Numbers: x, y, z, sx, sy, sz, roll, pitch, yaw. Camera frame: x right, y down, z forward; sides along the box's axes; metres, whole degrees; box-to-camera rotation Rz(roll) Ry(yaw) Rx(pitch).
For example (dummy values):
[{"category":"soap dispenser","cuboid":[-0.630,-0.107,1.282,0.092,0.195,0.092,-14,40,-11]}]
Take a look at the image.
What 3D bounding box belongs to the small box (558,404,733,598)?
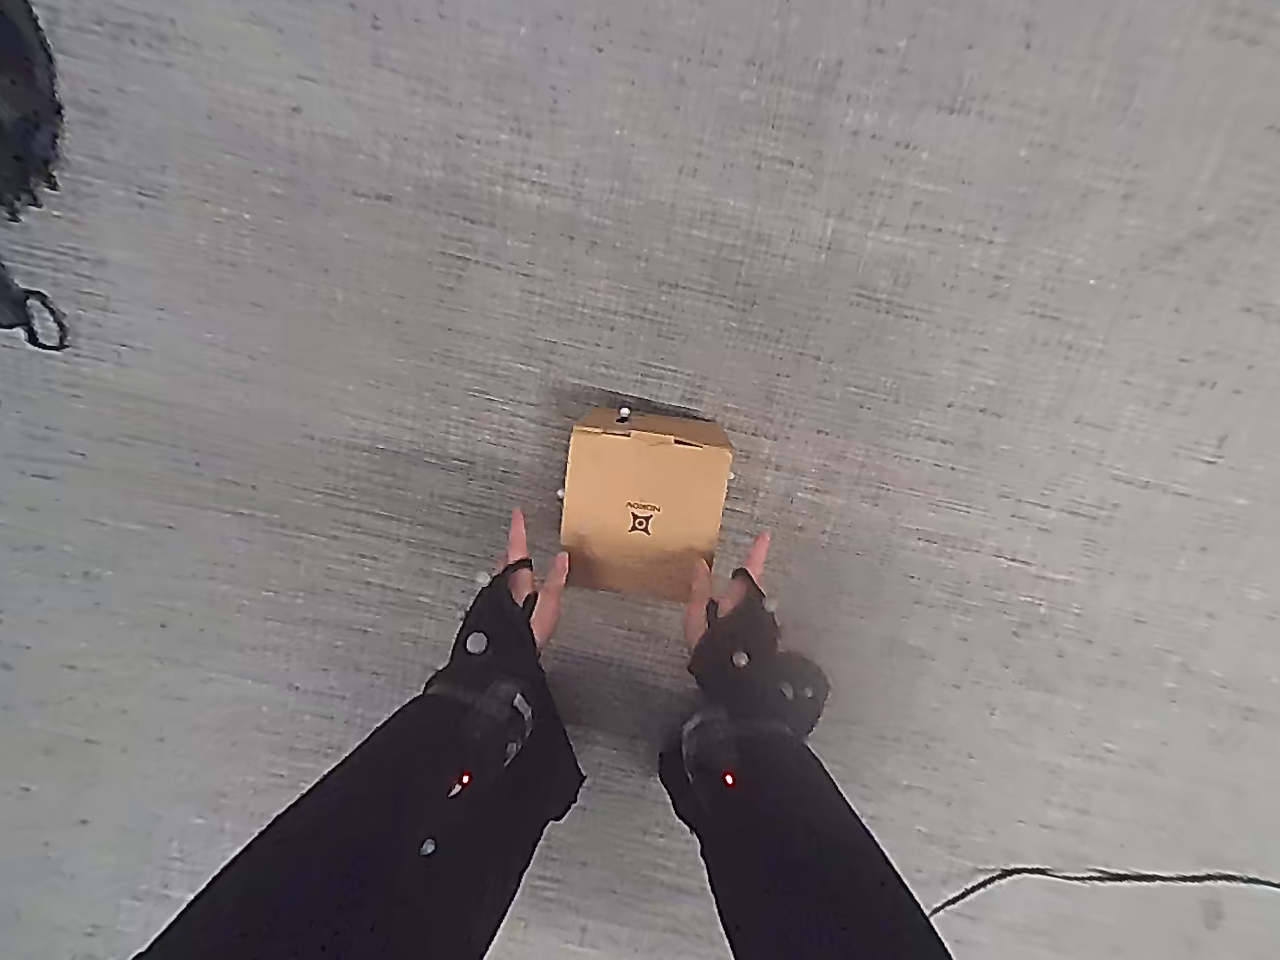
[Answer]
[{"category":"small box","cuboid":[0.007,0.013,0.640,0.168,0.176,0.179,8,107,2]}]
